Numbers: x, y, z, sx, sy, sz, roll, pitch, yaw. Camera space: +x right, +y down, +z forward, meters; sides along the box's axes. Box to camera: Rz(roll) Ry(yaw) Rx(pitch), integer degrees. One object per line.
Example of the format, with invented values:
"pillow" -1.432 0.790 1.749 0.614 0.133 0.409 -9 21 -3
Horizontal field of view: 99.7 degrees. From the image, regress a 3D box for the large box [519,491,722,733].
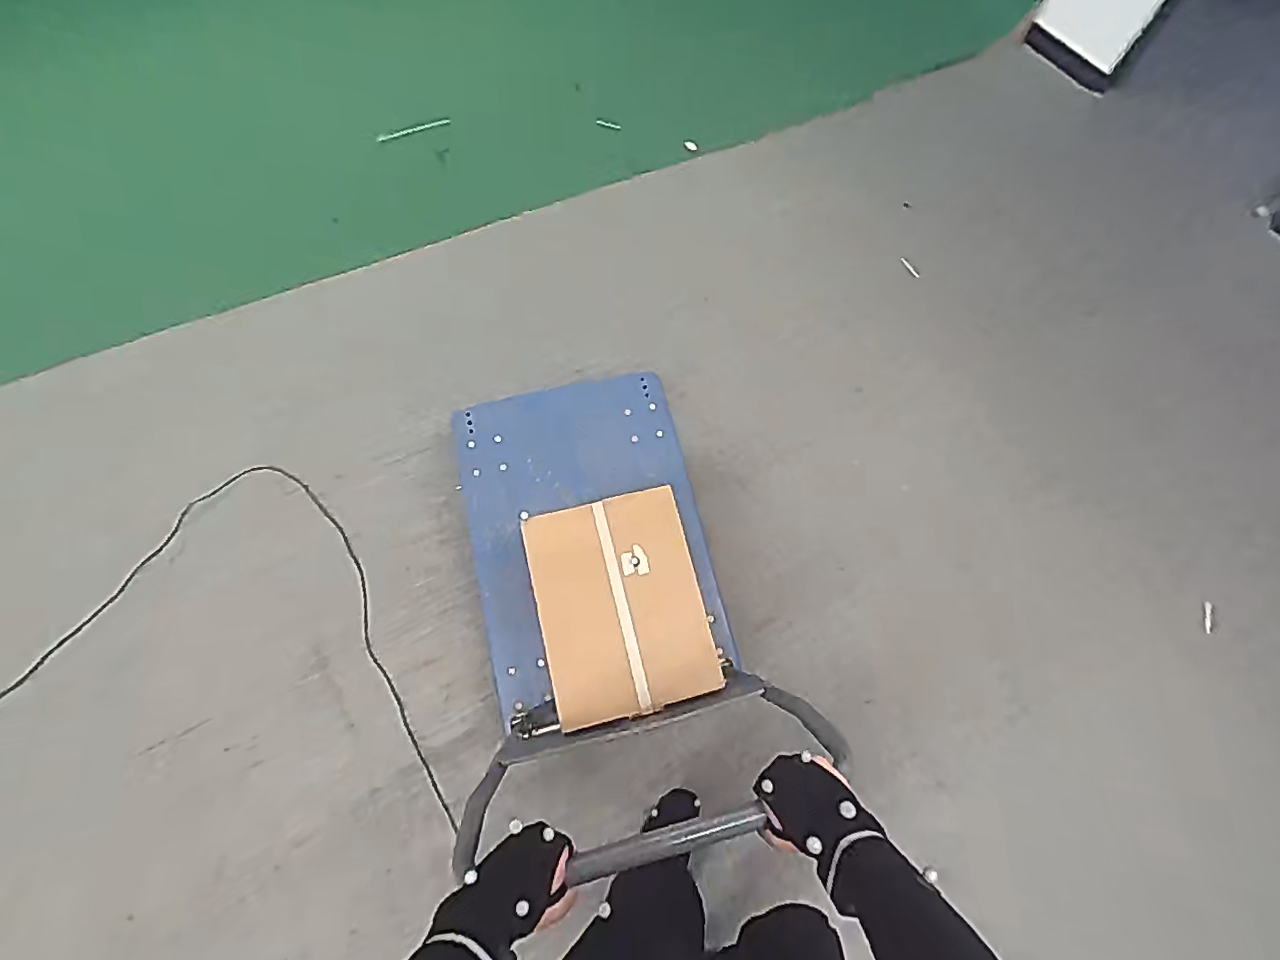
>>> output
"large box" -0.051 0.284 1.186 0.320 0.320 0.408 -13 74 -8
